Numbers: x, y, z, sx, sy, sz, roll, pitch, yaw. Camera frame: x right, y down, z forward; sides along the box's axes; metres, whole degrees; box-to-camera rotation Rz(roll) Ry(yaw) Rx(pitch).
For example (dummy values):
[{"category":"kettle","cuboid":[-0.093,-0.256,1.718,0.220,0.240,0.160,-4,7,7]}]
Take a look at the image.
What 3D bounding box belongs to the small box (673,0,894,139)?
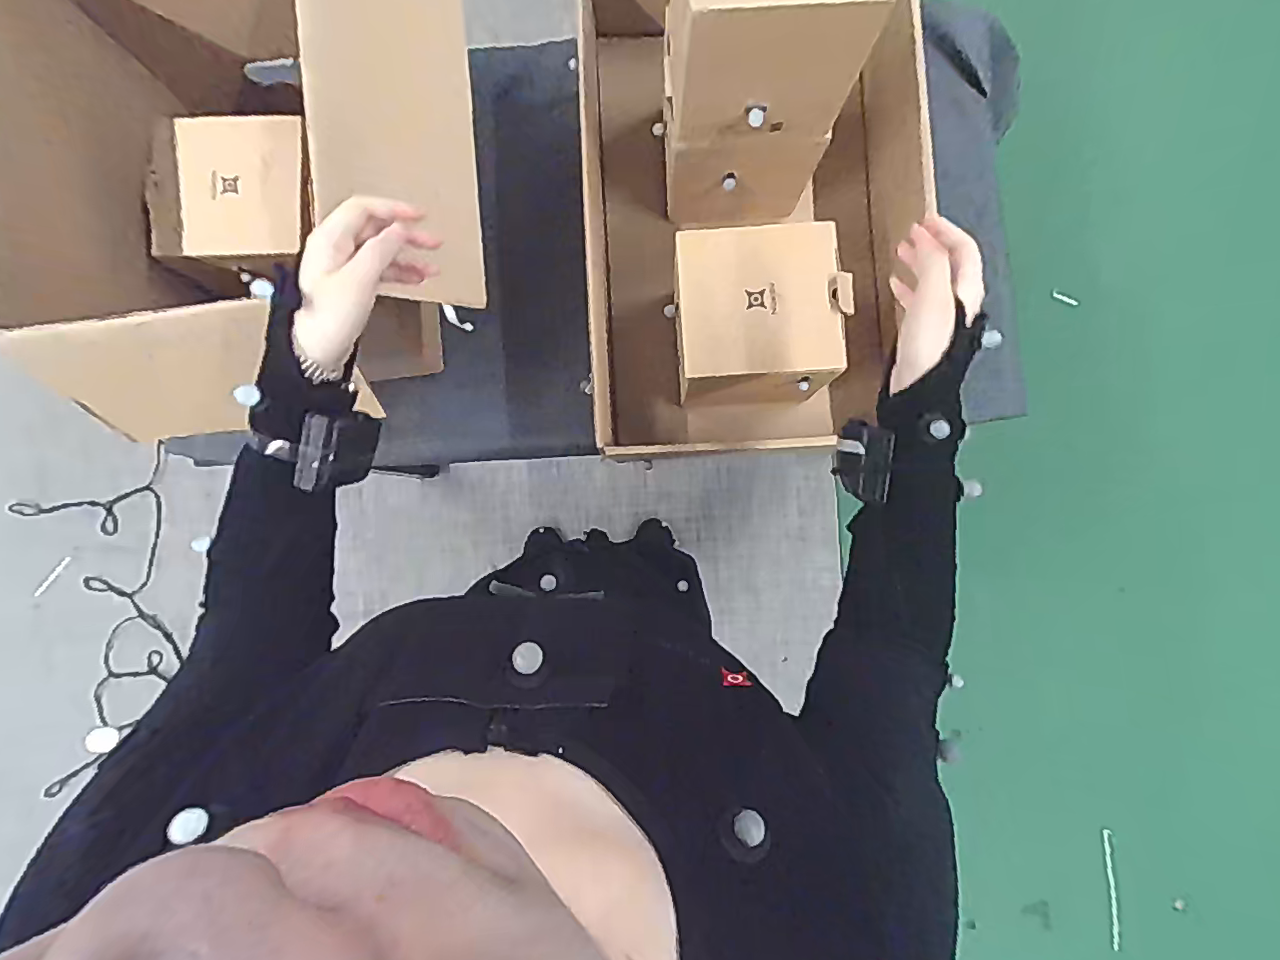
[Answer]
[{"category":"small box","cuboid":[0.119,-0.463,0.513,0.168,0.176,0.179,-2,90,0]}]
